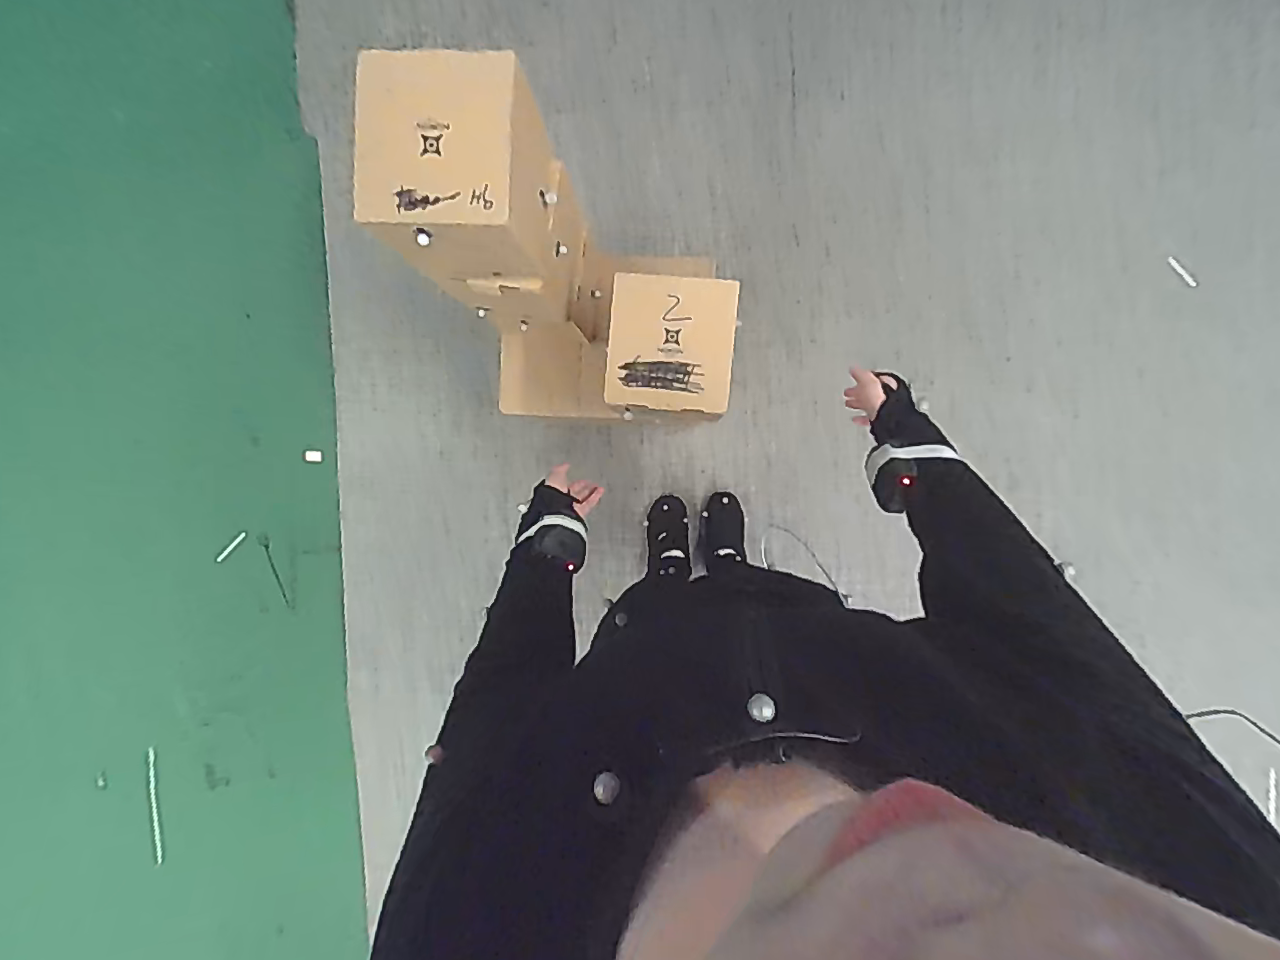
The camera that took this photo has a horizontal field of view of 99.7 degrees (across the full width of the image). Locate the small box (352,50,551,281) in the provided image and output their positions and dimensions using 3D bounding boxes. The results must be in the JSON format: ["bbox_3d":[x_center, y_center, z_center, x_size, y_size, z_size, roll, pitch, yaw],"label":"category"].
[{"bbox_3d":[-0.206,-0.353,0.633,0.168,0.176,0.179,3,91,5],"label":"small box"}]

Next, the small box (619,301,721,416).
[{"bbox_3d":[0.054,-0.204,0.950,0.168,0.176,0.179,0,92,4],"label":"small box"}]

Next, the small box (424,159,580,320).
[{"bbox_3d":[-0.191,-0.351,0.798,0.168,0.176,0.179,10,91,3],"label":"small box"}]

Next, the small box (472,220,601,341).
[{"bbox_3d":[-0.176,-0.354,0.962,0.179,0.176,0.168,8,93,3],"label":"small box"}]
